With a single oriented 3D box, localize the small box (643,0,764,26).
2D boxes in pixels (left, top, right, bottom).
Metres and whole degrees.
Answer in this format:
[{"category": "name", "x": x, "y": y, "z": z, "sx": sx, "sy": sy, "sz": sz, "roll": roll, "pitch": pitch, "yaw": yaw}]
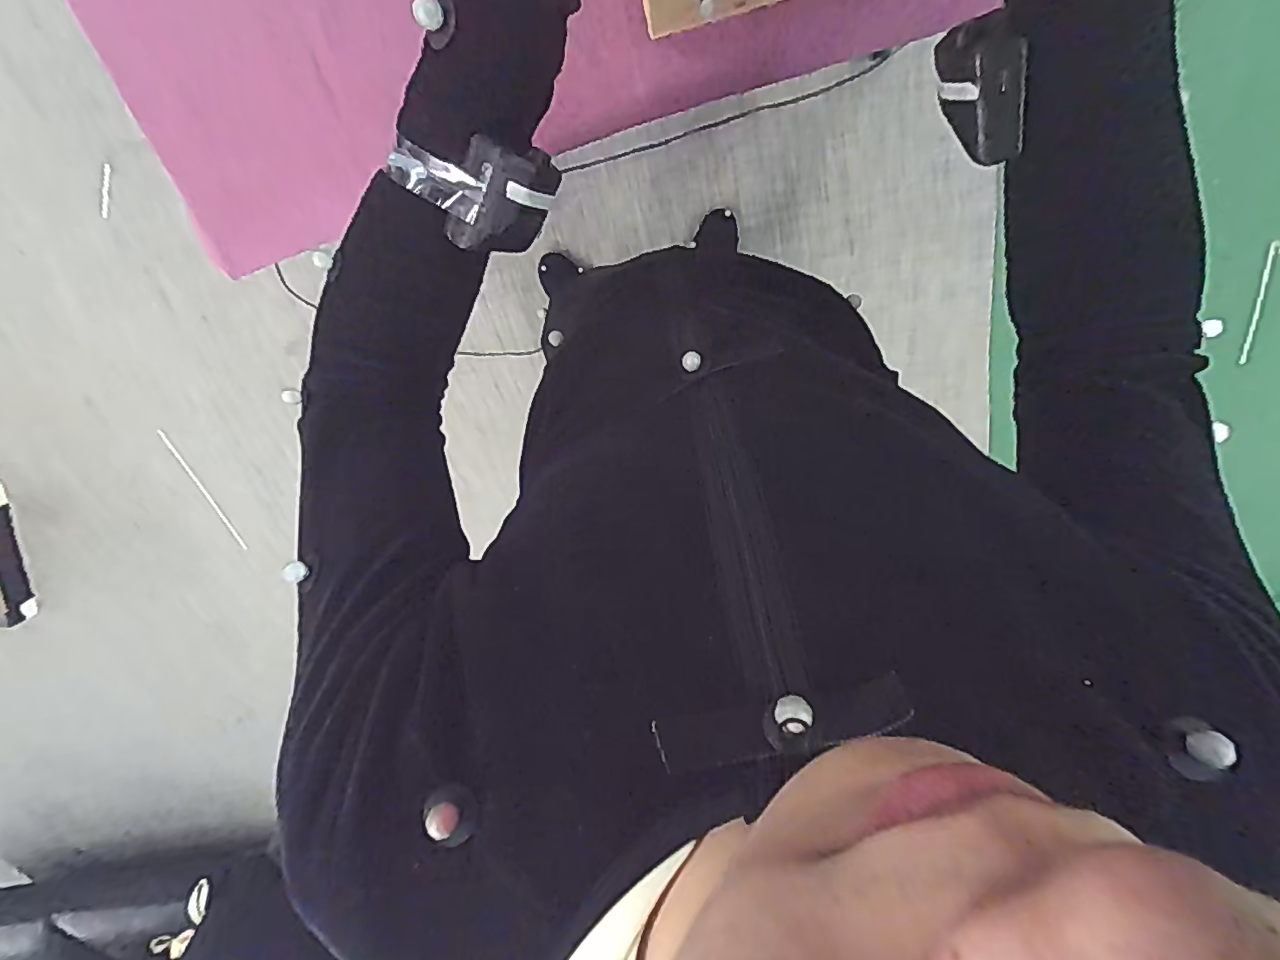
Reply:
[{"category": "small box", "x": 0.067, "y": -0.578, "z": 0.520, "sx": 0.168, "sy": 0.176, "sz": 0.179, "roll": -10, "pitch": 115, "yaw": 9}]
